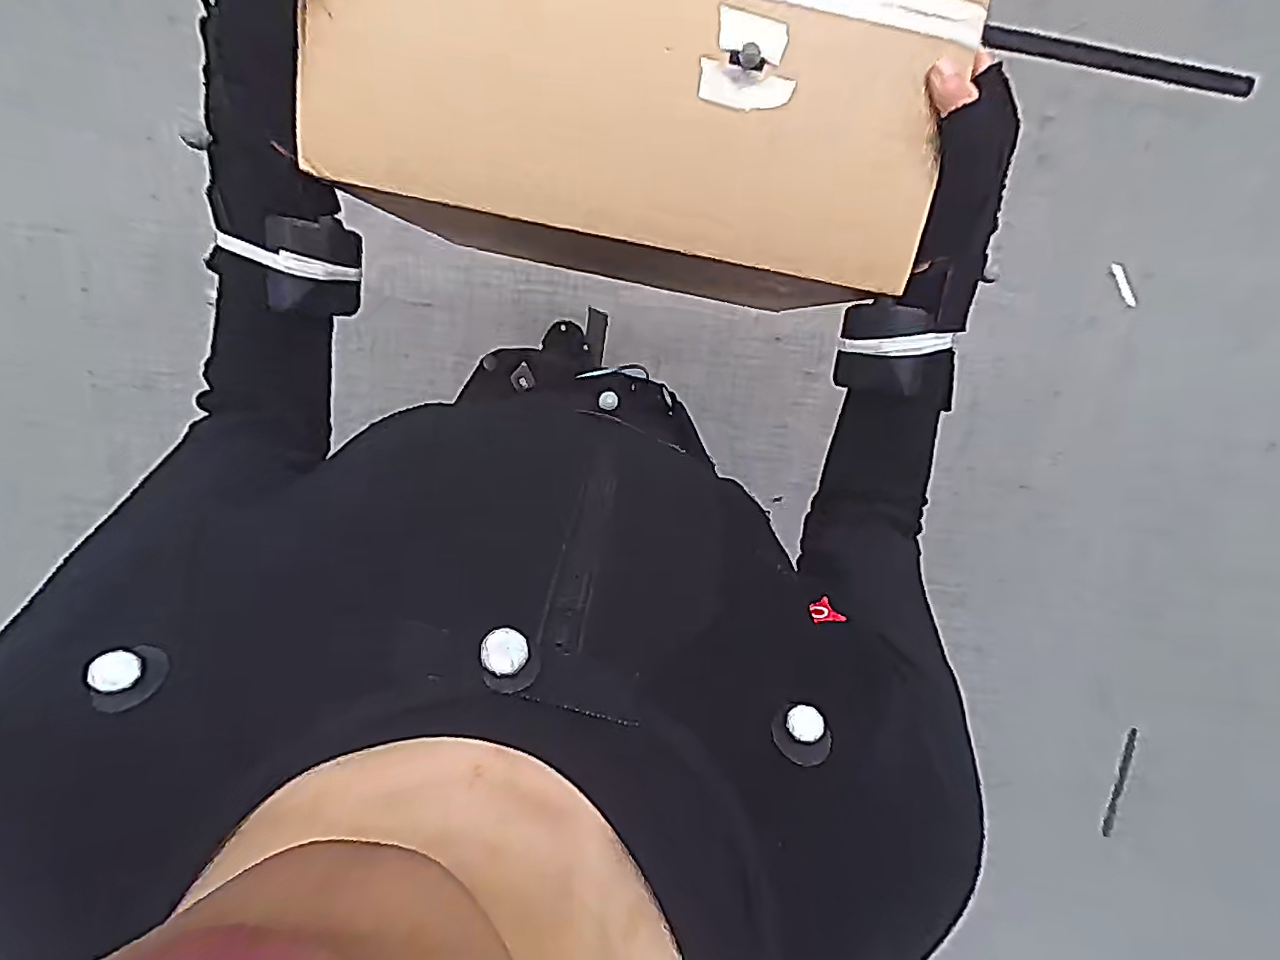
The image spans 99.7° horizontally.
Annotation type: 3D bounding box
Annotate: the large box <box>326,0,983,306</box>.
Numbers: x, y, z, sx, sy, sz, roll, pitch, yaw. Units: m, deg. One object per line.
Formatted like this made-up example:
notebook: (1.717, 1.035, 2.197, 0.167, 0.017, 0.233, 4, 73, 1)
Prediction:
large box: (0.009, -0.350, 0.473, 0.408, 0.320, 0.320, 10, 106, -5)
